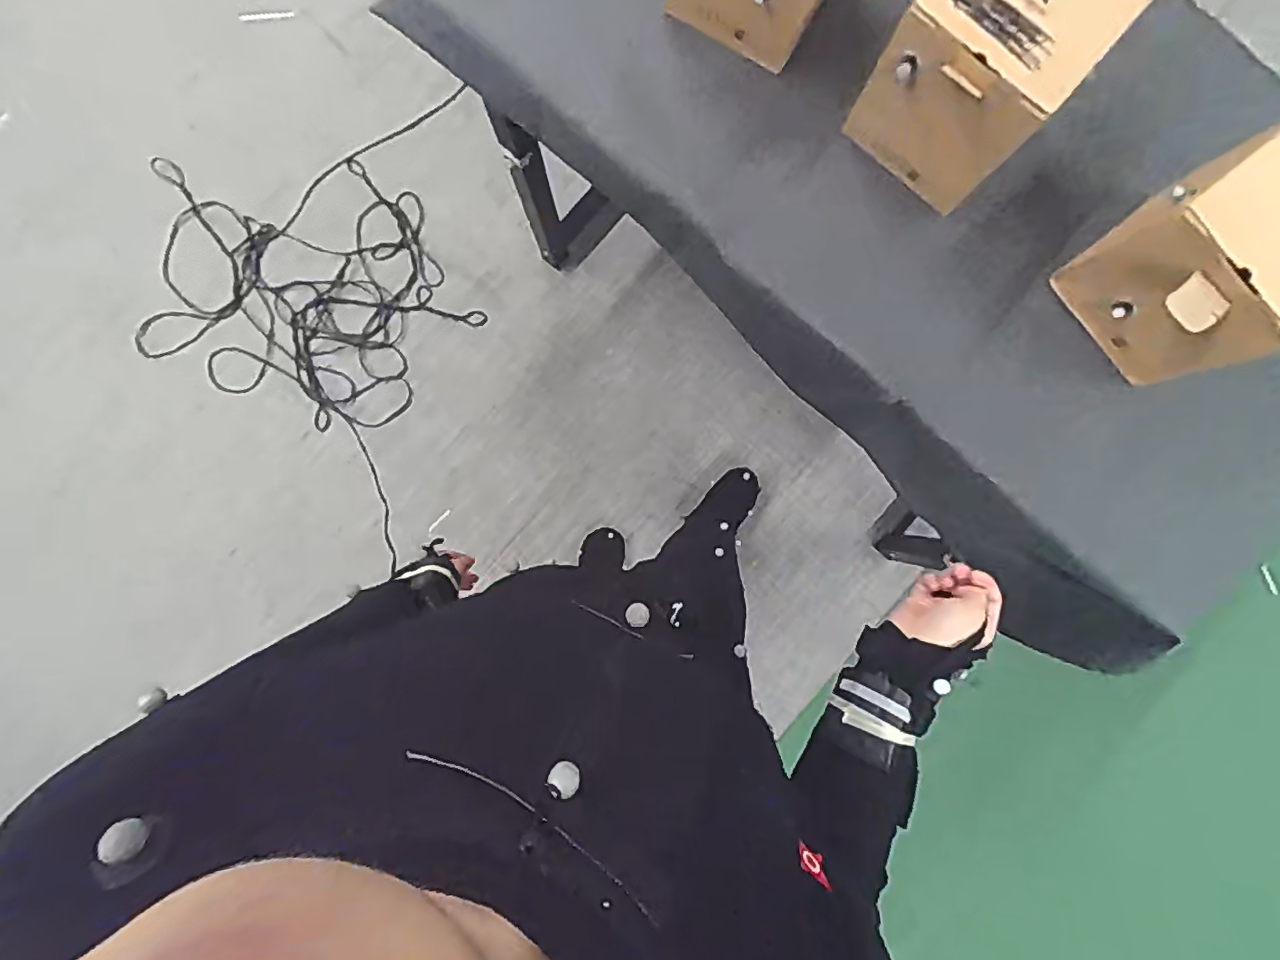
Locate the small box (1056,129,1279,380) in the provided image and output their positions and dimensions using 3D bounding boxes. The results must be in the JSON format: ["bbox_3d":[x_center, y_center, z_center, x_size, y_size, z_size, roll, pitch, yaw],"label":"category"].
[{"bbox_3d":[0.614,-0.233,0.579,0.179,0.176,0.168,-38,89,-2],"label":"small box"}]

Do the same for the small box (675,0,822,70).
[{"bbox_3d":[0.143,-0.610,0.589,0.168,0.176,0.179,30,86,-1],"label":"small box"}]
